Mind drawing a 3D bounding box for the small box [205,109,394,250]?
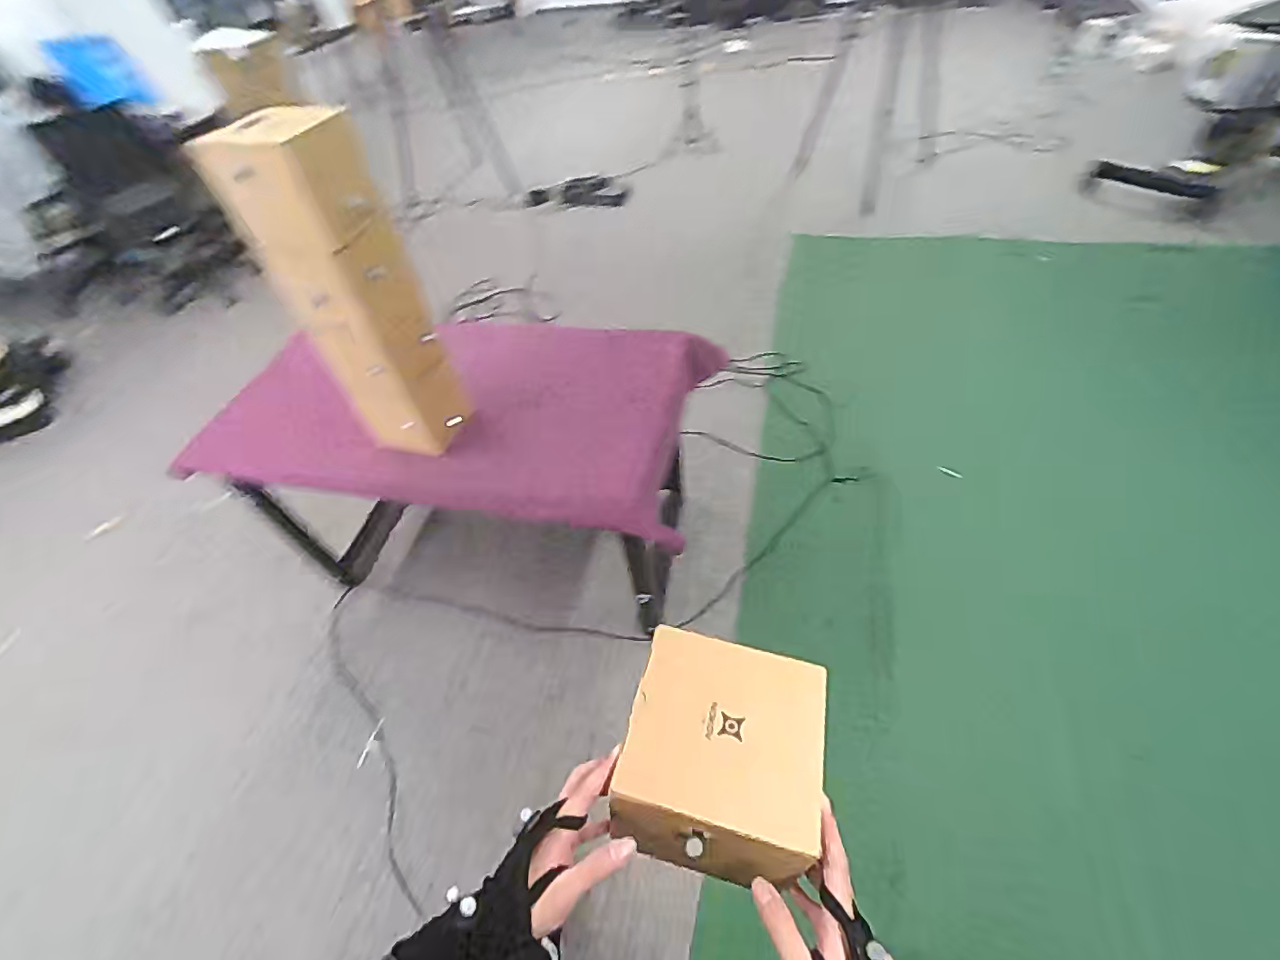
[{"bbox_3d":[-0.568,-0.512,0.927,0.179,0.176,0.168,9,51,13],"label":"small box"}]

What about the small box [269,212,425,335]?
[{"bbox_3d":[-0.553,-0.404,1.050,0.168,0.176,0.179,11,52,15],"label":"small box"}]

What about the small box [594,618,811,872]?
[{"bbox_3d":[0.065,0.271,0.551,0.179,0.176,0.168,10,45,11],"label":"small box"}]

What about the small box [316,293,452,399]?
[{"bbox_3d":[-0.539,-0.294,1.170,0.179,0.176,0.168,10,52,16],"label":"small box"}]
